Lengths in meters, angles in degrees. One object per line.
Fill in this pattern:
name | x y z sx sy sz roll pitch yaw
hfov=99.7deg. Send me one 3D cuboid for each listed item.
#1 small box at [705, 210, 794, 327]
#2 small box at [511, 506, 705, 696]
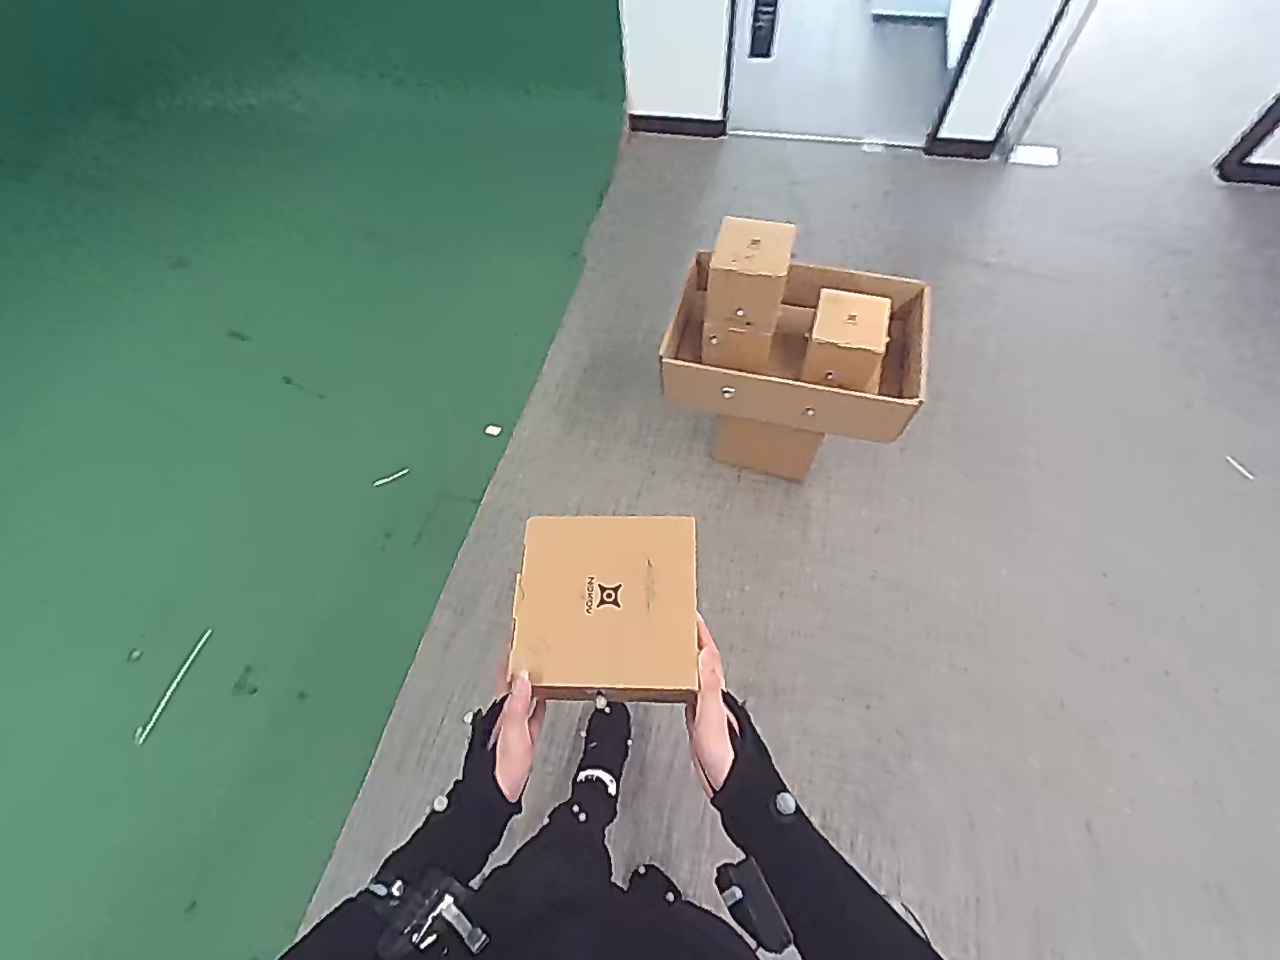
small box | 0.248 -0.487 1.253 0.168 0.176 0.179 12 63 10
small box | -0.021 0.137 0.584 0.179 0.176 0.168 1 64 4
